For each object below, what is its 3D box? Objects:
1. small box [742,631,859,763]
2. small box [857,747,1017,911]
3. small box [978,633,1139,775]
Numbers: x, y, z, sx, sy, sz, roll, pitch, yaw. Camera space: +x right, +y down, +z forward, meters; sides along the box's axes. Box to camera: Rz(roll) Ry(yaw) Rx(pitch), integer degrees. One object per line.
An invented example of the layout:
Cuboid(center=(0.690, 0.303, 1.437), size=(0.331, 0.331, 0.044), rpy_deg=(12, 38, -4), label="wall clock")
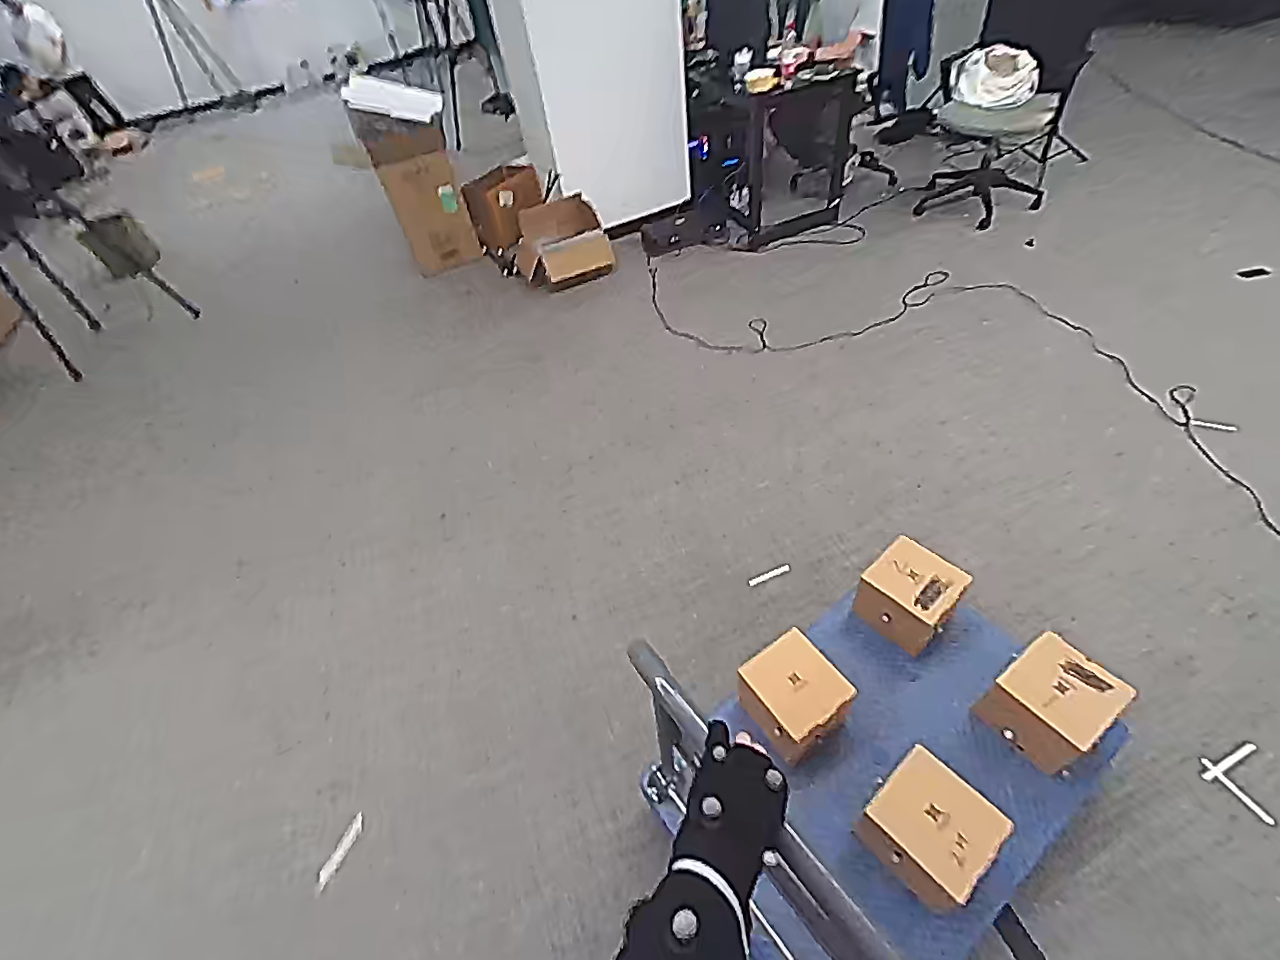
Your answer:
Cuboid(center=(0.331, 0.466, 1.157), size=(0.168, 0.176, 0.179), rpy_deg=(-30, 51, -17), label="small box")
Cuboid(center=(0.519, 0.629, 0.972), size=(0.168, 0.176, 0.179), rpy_deg=(-35, 51, -21), label="small box")
Cuboid(center=(0.820, 0.449, 1.080), size=(0.179, 0.176, 0.168), rpy_deg=(-32, 50, -17), label="small box")
